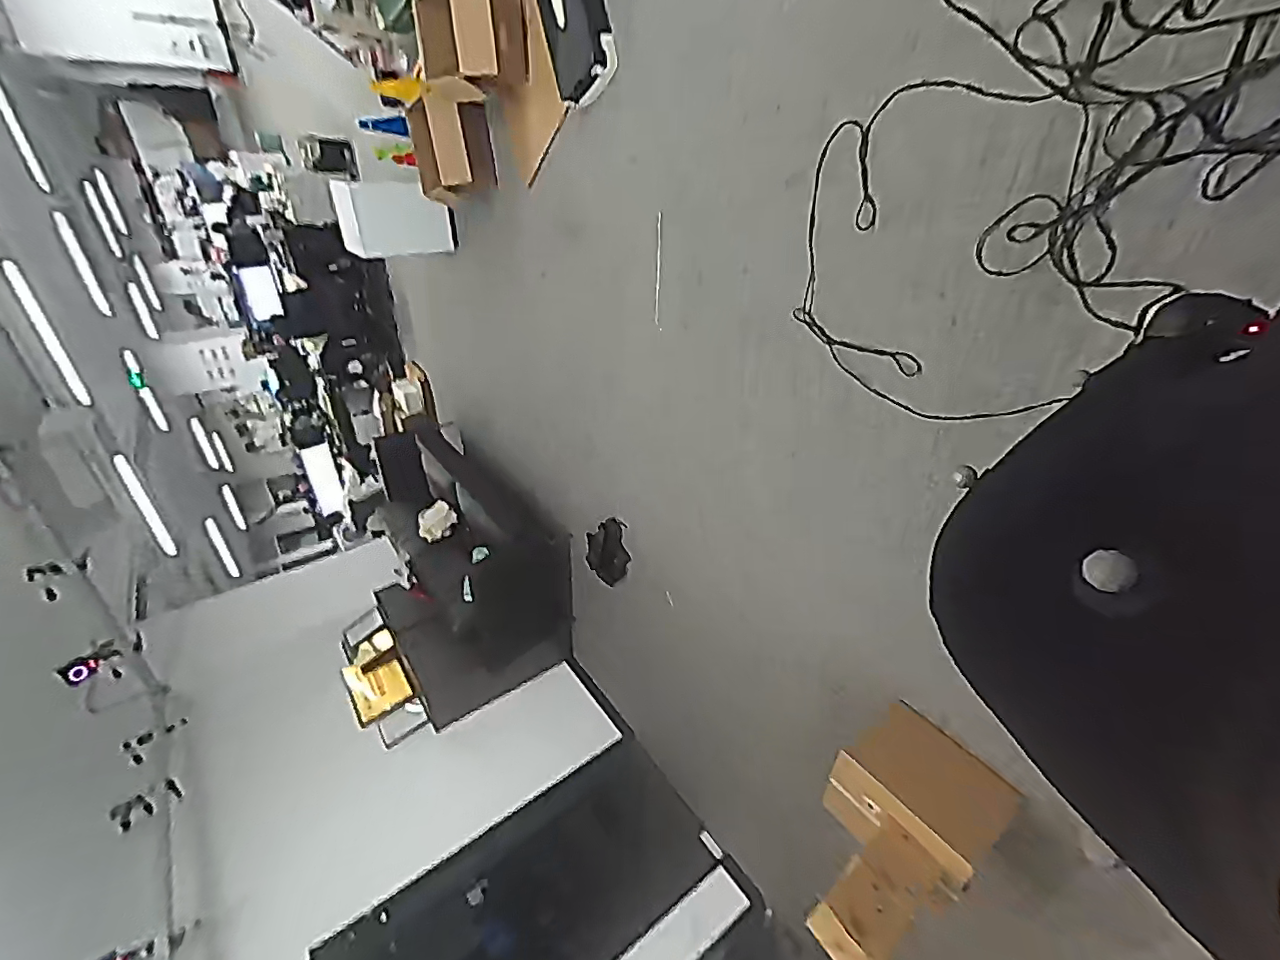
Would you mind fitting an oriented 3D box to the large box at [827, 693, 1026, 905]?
[{"bbox_3d":[0.862,0.958,1.666,0.408,0.320,0.320,37,136,43],"label":"large box"}]

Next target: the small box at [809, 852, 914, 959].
[{"bbox_3d":[0.580,1.129,1.416,0.168,0.176,0.179,41,140,38],"label":"small box"}]
